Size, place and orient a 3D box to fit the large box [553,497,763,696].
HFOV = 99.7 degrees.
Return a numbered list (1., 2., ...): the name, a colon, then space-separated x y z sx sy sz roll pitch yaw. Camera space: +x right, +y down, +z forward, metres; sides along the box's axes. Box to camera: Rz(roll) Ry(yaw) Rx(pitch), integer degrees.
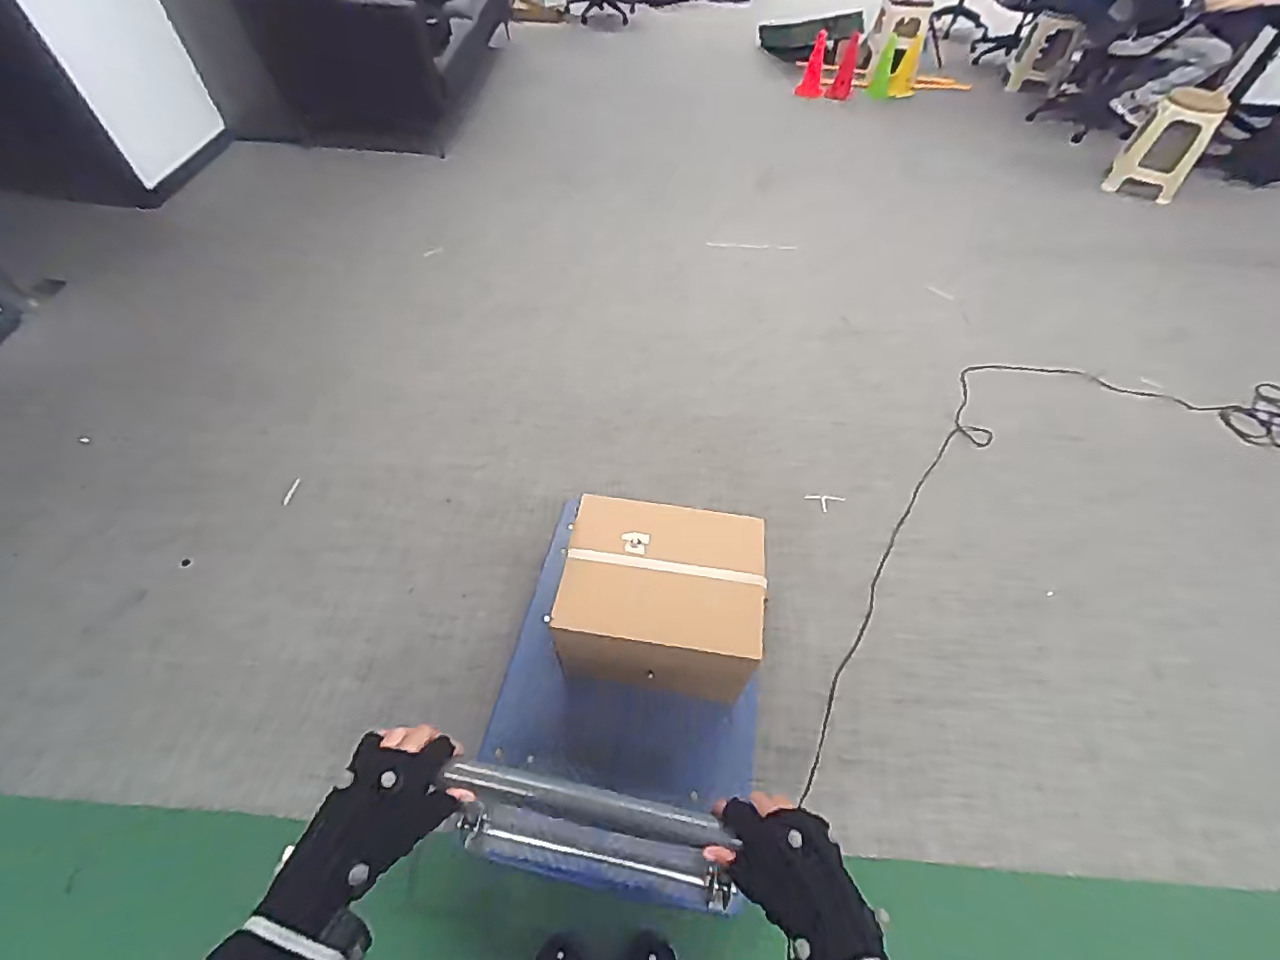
1. large box: 0.050 0.269 1.223 0.408 0.320 0.320 7 53 5
